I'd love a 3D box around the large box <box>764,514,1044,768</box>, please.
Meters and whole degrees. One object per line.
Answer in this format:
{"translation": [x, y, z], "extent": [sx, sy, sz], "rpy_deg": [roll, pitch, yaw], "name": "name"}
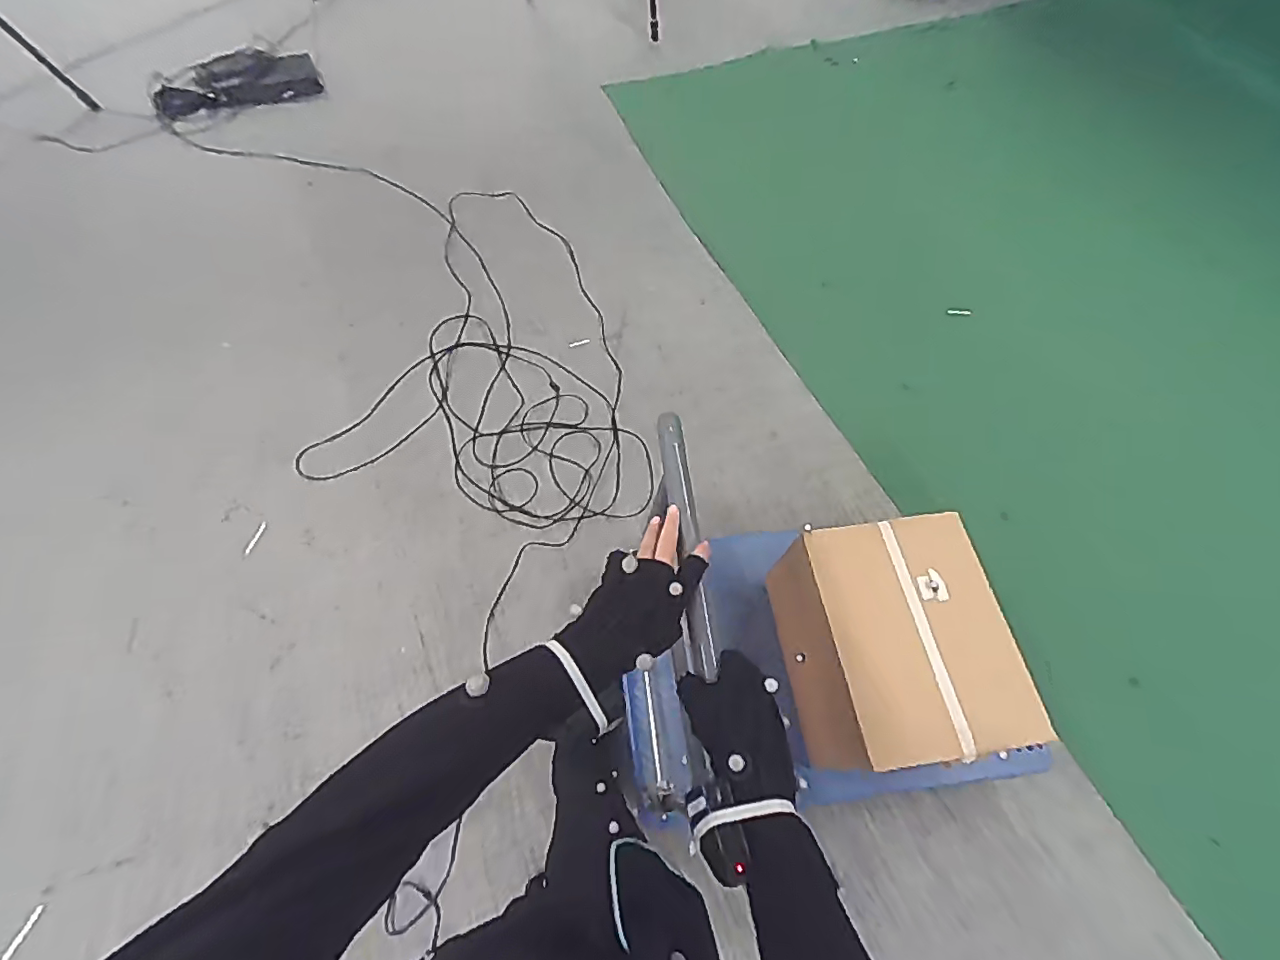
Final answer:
{"translation": [0.474, 0.327, 1.081], "extent": [0.320, 0.320, 0.408], "rpy_deg": [-6, 63, -6], "name": "large box"}
